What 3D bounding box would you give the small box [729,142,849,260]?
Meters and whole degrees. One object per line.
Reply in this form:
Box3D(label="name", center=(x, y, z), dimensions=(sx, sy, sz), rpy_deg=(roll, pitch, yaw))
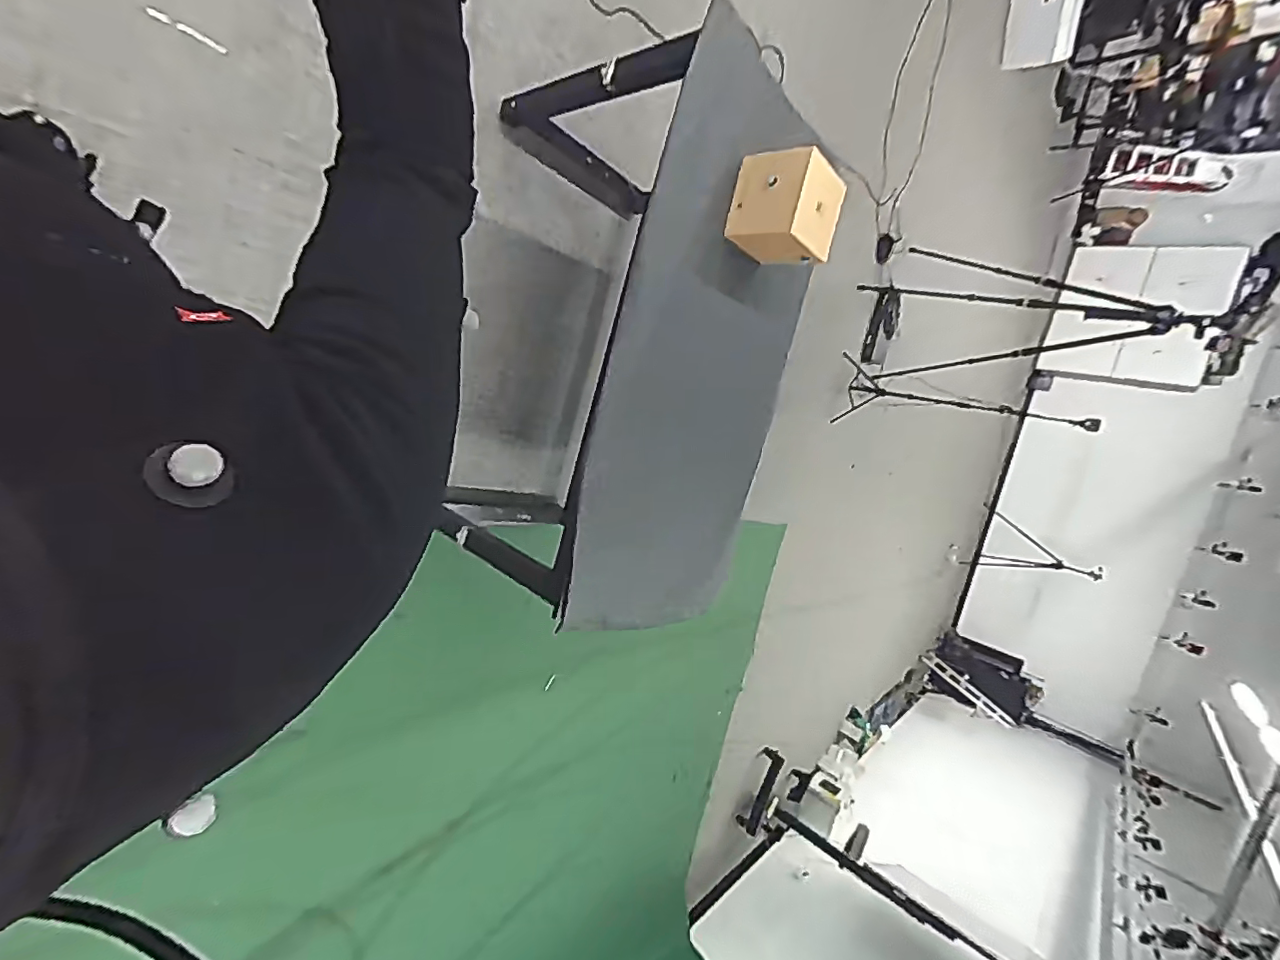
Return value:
Box3D(label="small box", center=(0.315, -0.583, 1.155), dimensions=(0.179, 0.176, 0.168), rpy_deg=(4, 103, -50))
